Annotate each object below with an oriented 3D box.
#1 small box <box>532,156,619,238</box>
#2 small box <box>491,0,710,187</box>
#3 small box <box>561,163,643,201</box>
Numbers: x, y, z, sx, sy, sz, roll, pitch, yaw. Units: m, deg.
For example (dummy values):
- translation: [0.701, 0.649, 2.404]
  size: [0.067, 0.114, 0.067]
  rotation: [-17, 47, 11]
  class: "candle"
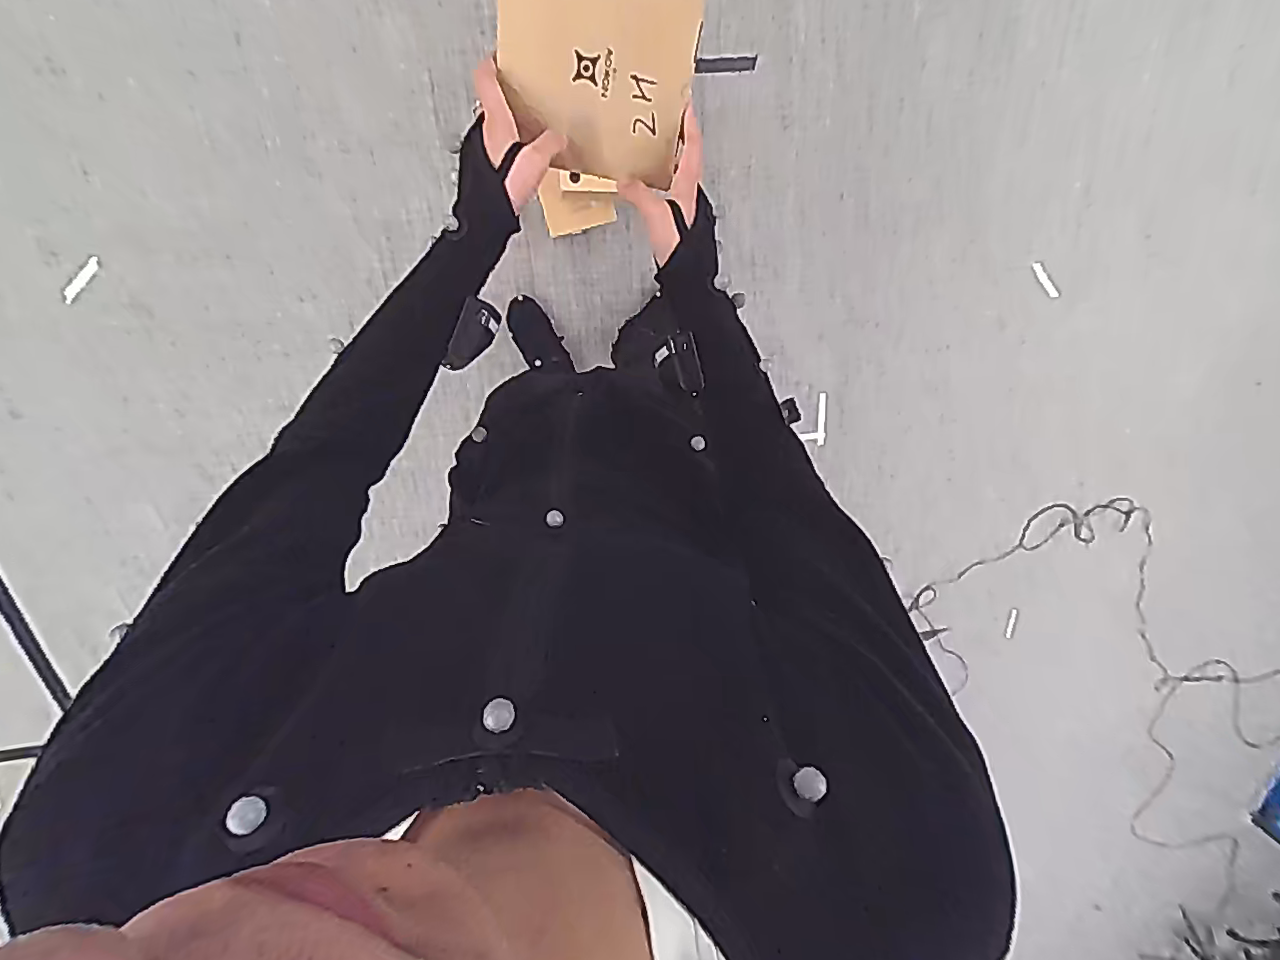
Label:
- translation: [-0.156, -0.695, 1.298]
  size: [0.168, 0.176, 0.179]
  rotation: [-15, 113, -2]
  class: "small box"
- translation: [-0.041, -0.410, 0.534]
  size: [0.179, 0.176, 0.168]
  rotation: [7, 127, -9]
  class: "small box"
- translation: [-0.083, -0.695, 1.132]
  size: [0.168, 0.176, 0.179]
  rotation: [-2, 112, -7]
  class: "small box"
